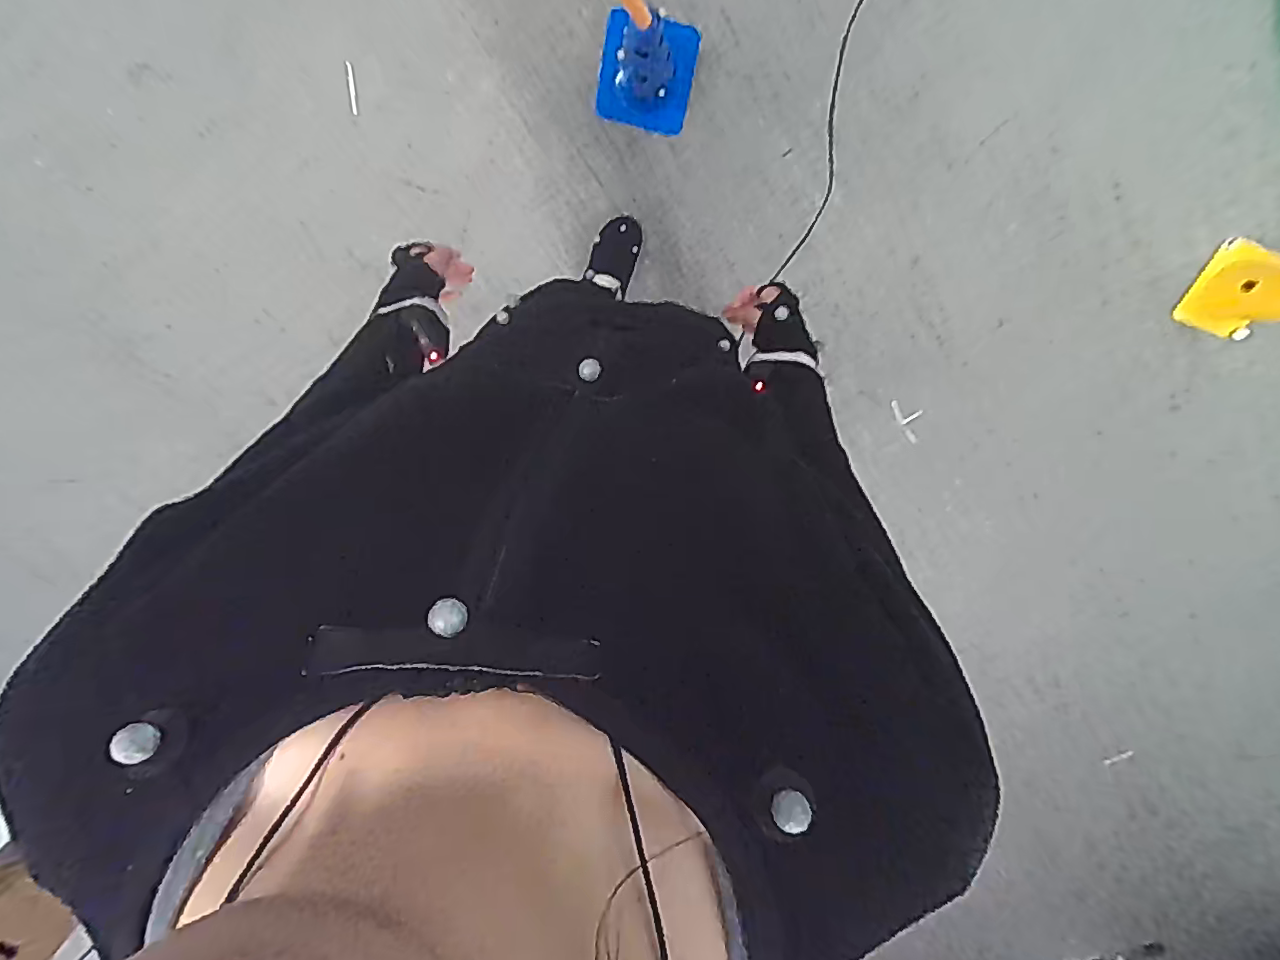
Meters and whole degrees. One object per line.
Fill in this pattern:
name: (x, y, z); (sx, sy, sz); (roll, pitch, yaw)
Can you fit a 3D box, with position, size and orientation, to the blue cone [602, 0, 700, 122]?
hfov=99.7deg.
blue cone: (0.011, -0.795, 0.984); (0.193, 0.380, 0.192); (10, 117, -2)
